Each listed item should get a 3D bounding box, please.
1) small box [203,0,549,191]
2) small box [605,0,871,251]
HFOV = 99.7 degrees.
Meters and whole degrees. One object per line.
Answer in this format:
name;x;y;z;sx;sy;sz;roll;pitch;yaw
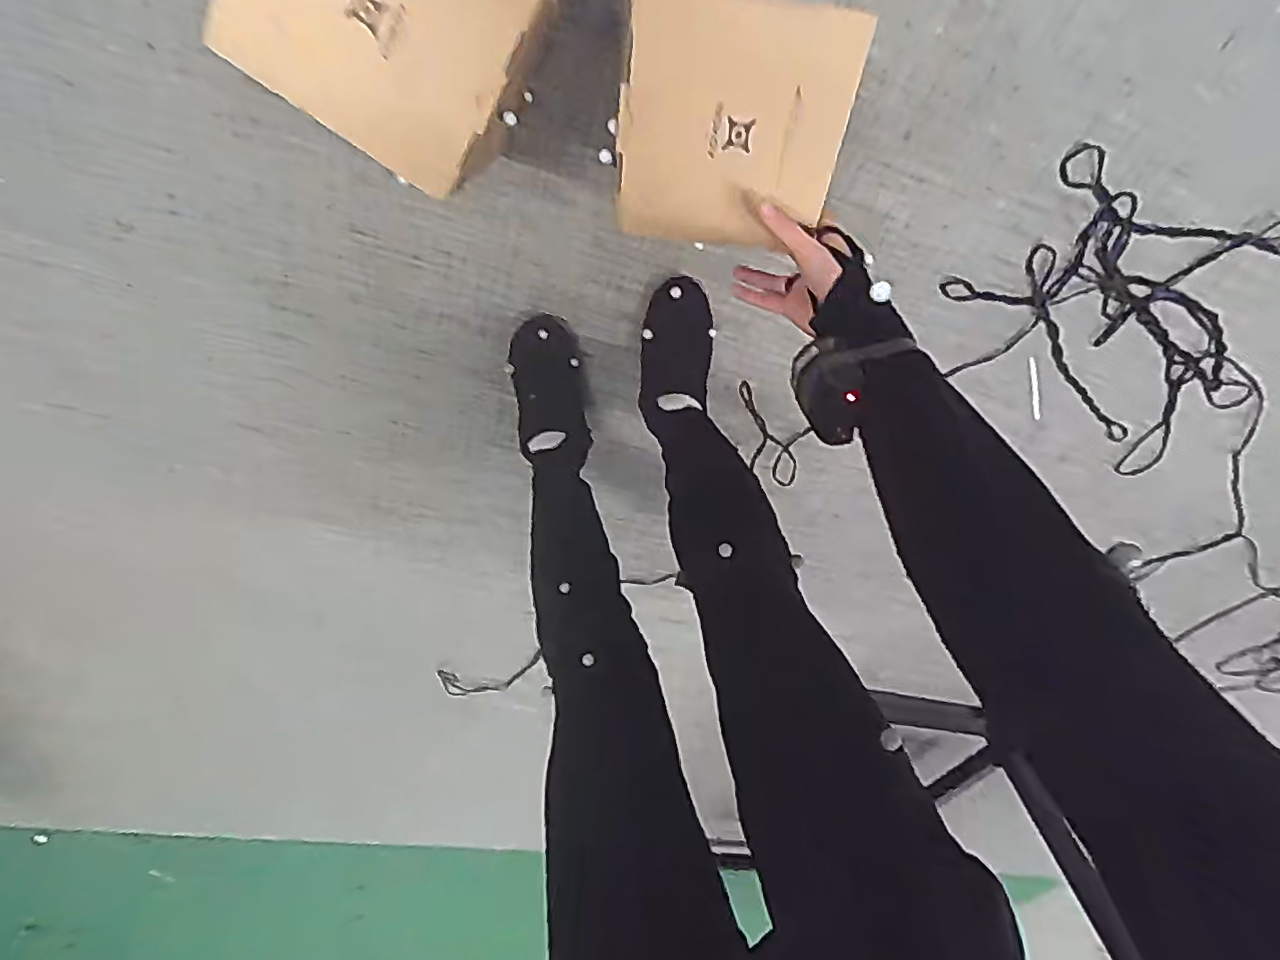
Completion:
small box;-0.188;-0.369;0.430;0.179;0.176;0.168;27;120;-24
small box;0.064;-0.321;0.481;0.179;0.176;0.168;4;128;-6
